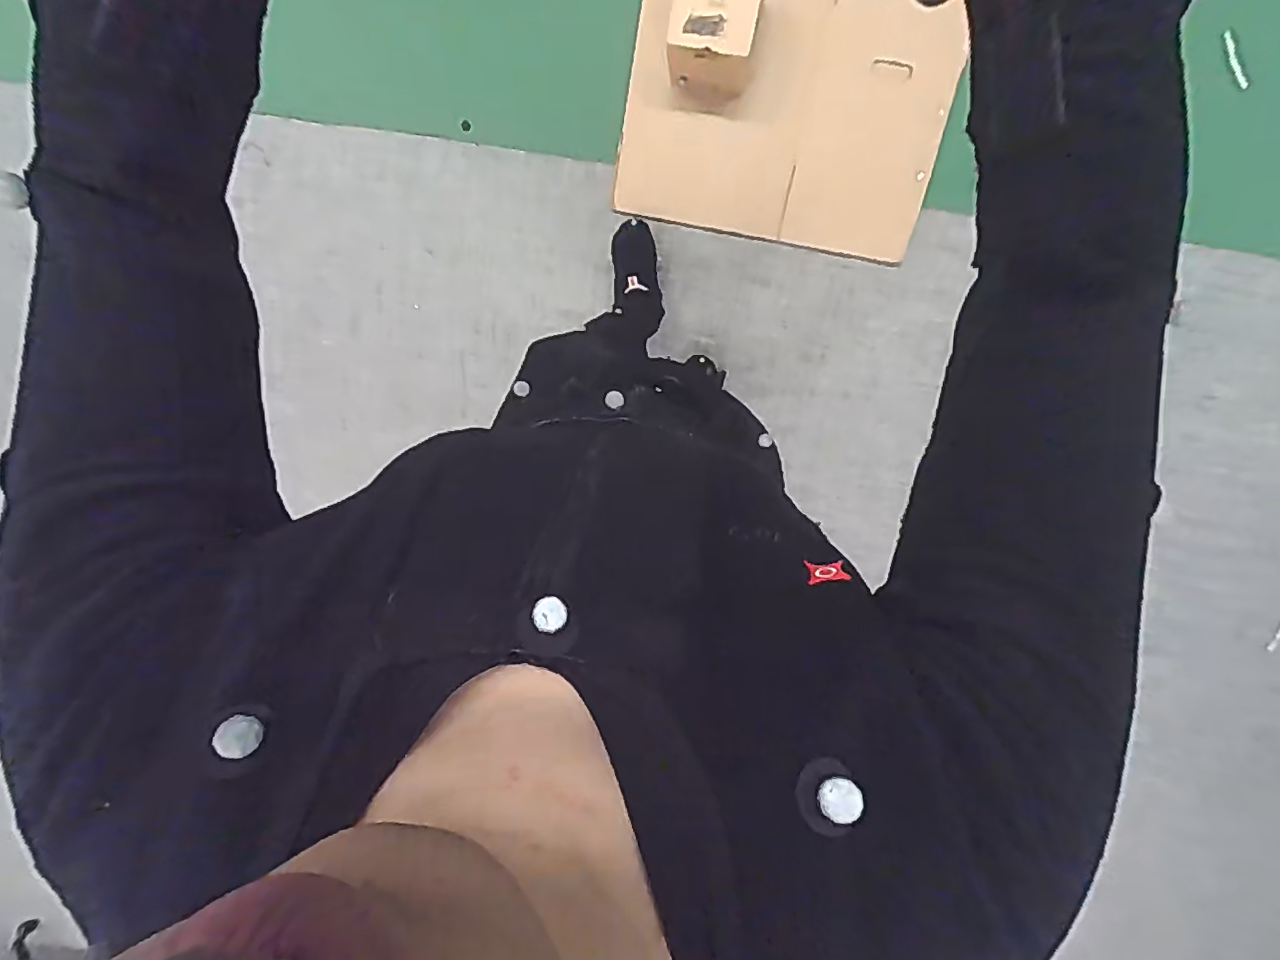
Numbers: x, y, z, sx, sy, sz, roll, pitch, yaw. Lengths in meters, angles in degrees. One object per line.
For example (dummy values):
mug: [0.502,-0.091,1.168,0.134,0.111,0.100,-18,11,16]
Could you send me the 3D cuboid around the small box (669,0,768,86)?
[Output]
small box: [0.162,-0.927,1.078,0.168,0.176,0.179,13,107,3]
